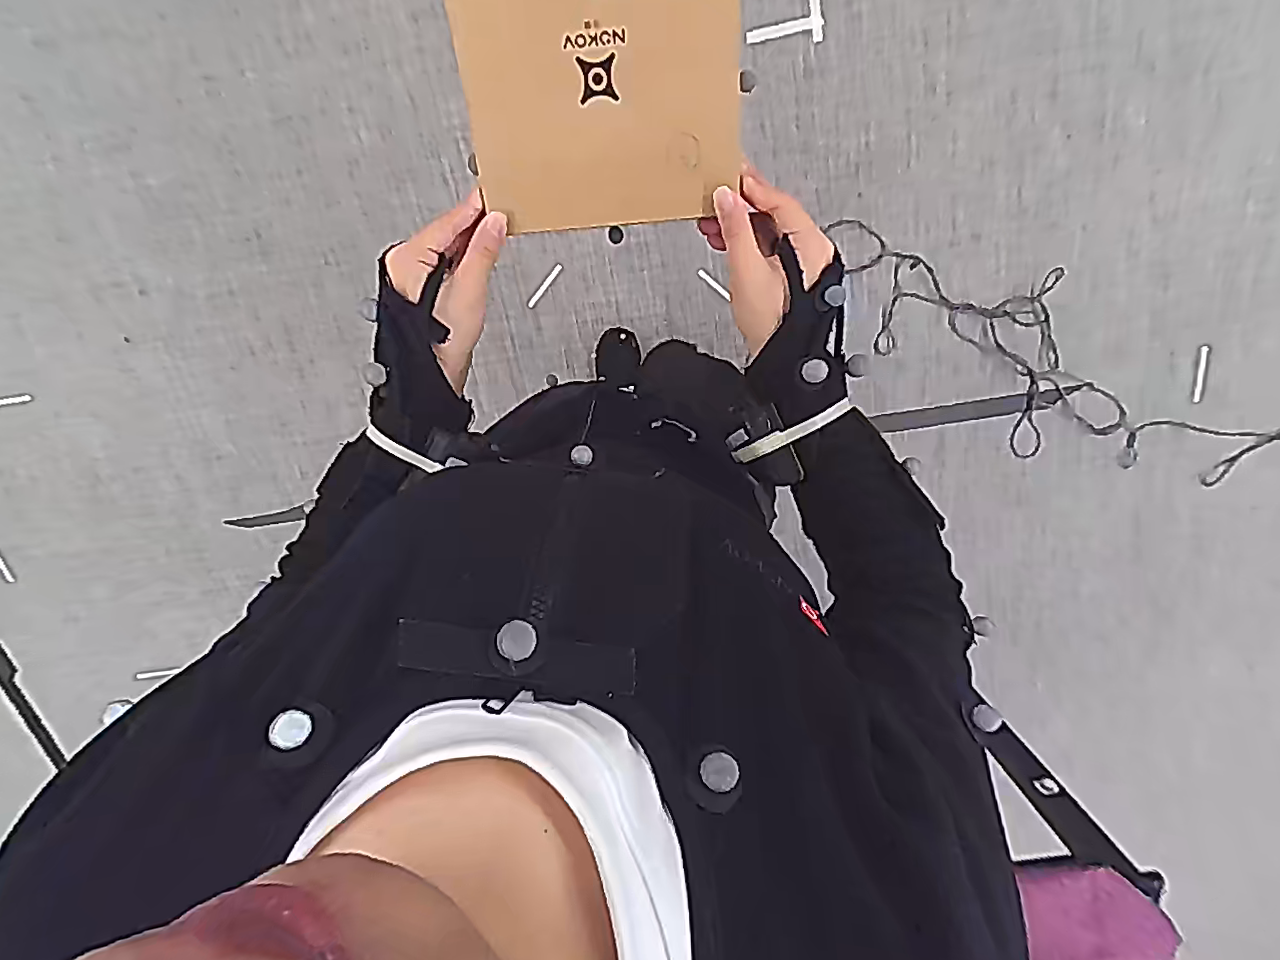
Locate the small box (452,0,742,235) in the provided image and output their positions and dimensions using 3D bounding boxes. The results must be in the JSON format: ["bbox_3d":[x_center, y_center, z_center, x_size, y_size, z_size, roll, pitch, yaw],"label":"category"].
[{"bbox_3d":[-0.019,-0.280,0.384,0.168,0.176,0.179,-3,116,4],"label":"small box"}]
